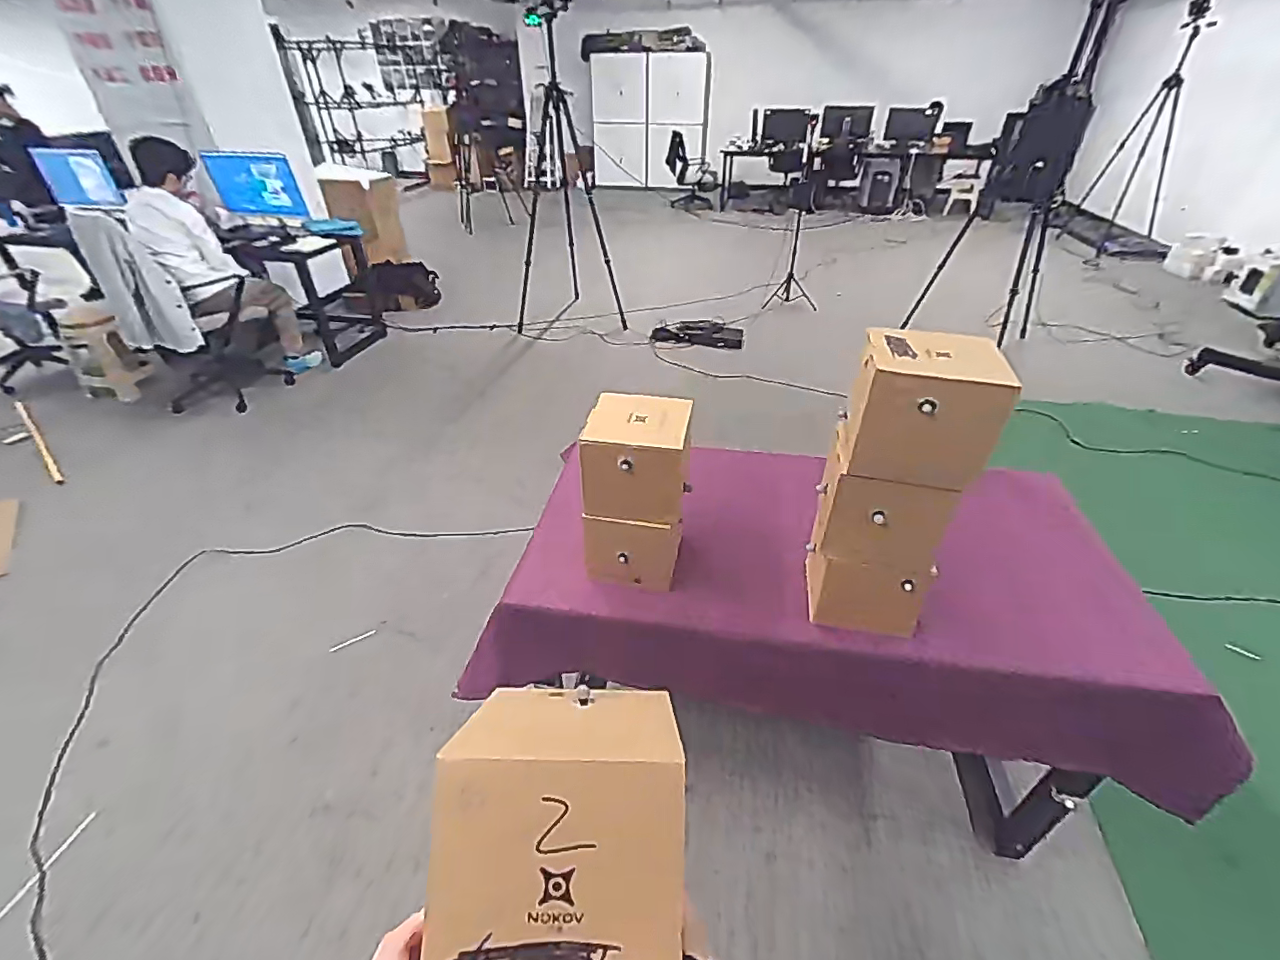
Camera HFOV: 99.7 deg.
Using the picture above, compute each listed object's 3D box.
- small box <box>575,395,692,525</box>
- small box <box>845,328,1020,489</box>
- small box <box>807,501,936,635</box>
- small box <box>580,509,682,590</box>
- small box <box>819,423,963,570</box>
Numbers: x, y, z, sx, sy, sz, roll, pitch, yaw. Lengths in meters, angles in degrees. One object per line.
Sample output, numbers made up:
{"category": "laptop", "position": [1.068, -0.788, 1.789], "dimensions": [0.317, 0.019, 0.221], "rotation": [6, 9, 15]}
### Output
{"category": "small box", "position": [-0.006, -0.037, 0.975], "dimensions": [0.179, 0.176, 0.168], "rotation": [7, 38, 9]}
{"category": "small box", "position": [0.402, -0.105, 0.785], "dimensions": [0.179, 0.176, 0.168], "rotation": [10, 37, 12]}
{"category": "small box", "position": [0.403, 0.159, 0.981], "dimensions": [0.179, 0.176, 0.168], "rotation": [6, 37, 9]}
{"category": "small box", "position": [-0.009, 0.095, 1.072], "dimensions": [0.168, 0.176, 0.179], "rotation": [8, 37, 10]}
{"category": "small box", "position": [0.395, 0.026, 0.885], "dimensions": [0.179, 0.176, 0.168], "rotation": [8, 37, 13]}
